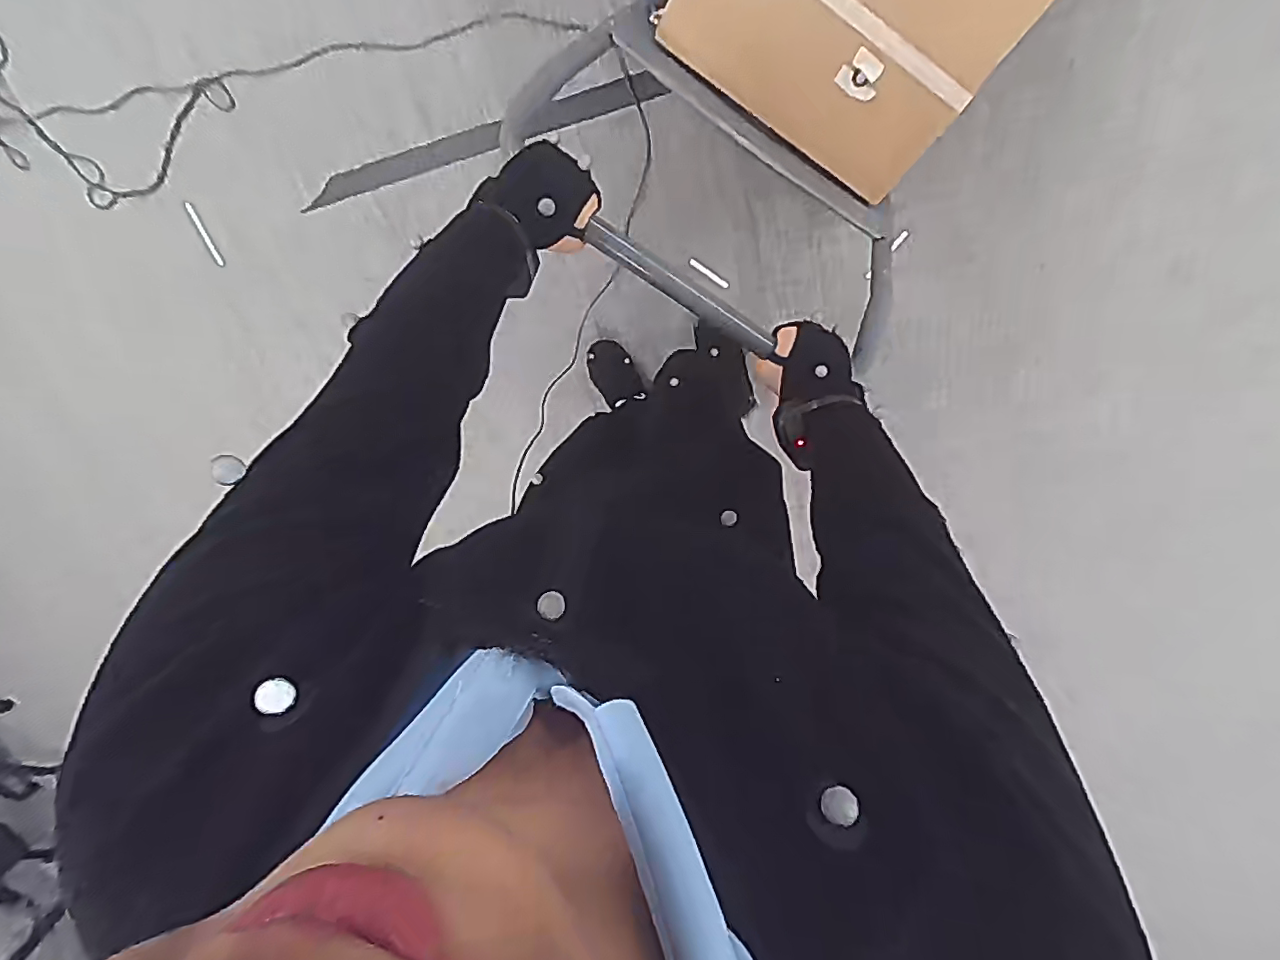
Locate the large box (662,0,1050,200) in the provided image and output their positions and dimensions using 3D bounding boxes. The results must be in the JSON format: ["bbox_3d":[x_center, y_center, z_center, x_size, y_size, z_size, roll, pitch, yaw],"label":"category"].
[{"bbox_3d":[0.300,-0.709,0.791,0.408,0.320,0.320,29,138,-11],"label":"large box"}]
